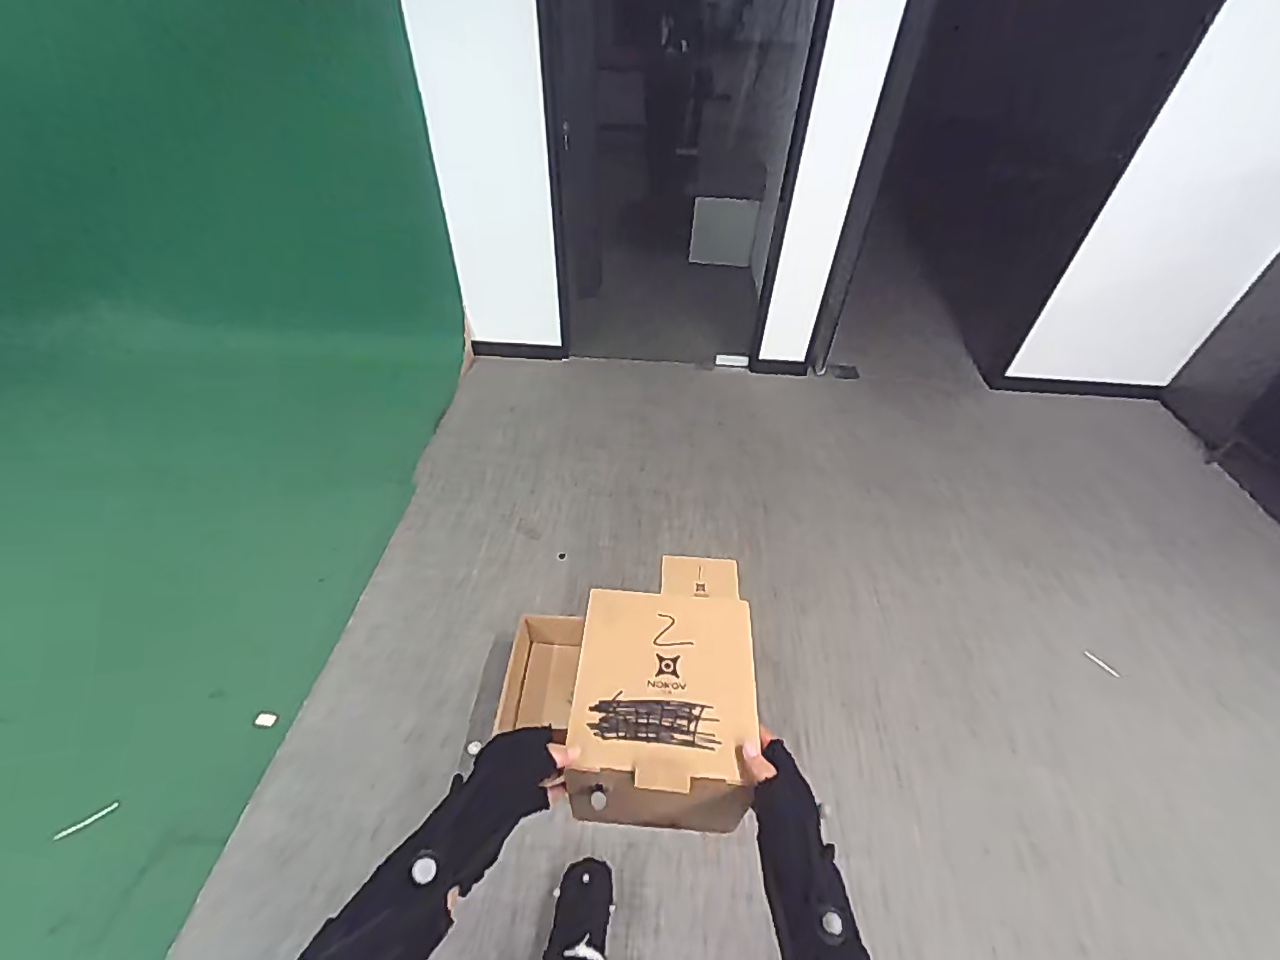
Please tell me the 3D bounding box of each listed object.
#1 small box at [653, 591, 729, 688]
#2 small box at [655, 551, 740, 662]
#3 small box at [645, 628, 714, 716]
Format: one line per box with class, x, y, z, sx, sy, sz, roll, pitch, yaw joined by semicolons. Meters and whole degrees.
small box;0.118;0.377;1.290;0.168;0.176;0.179;3;45;1
small box;0.120;0.278;1.181;0.168;0.176;0.179;4;45;1
small box;0.099;0.506;1.417;0.168;0.176;0.179;-1;44;-1
